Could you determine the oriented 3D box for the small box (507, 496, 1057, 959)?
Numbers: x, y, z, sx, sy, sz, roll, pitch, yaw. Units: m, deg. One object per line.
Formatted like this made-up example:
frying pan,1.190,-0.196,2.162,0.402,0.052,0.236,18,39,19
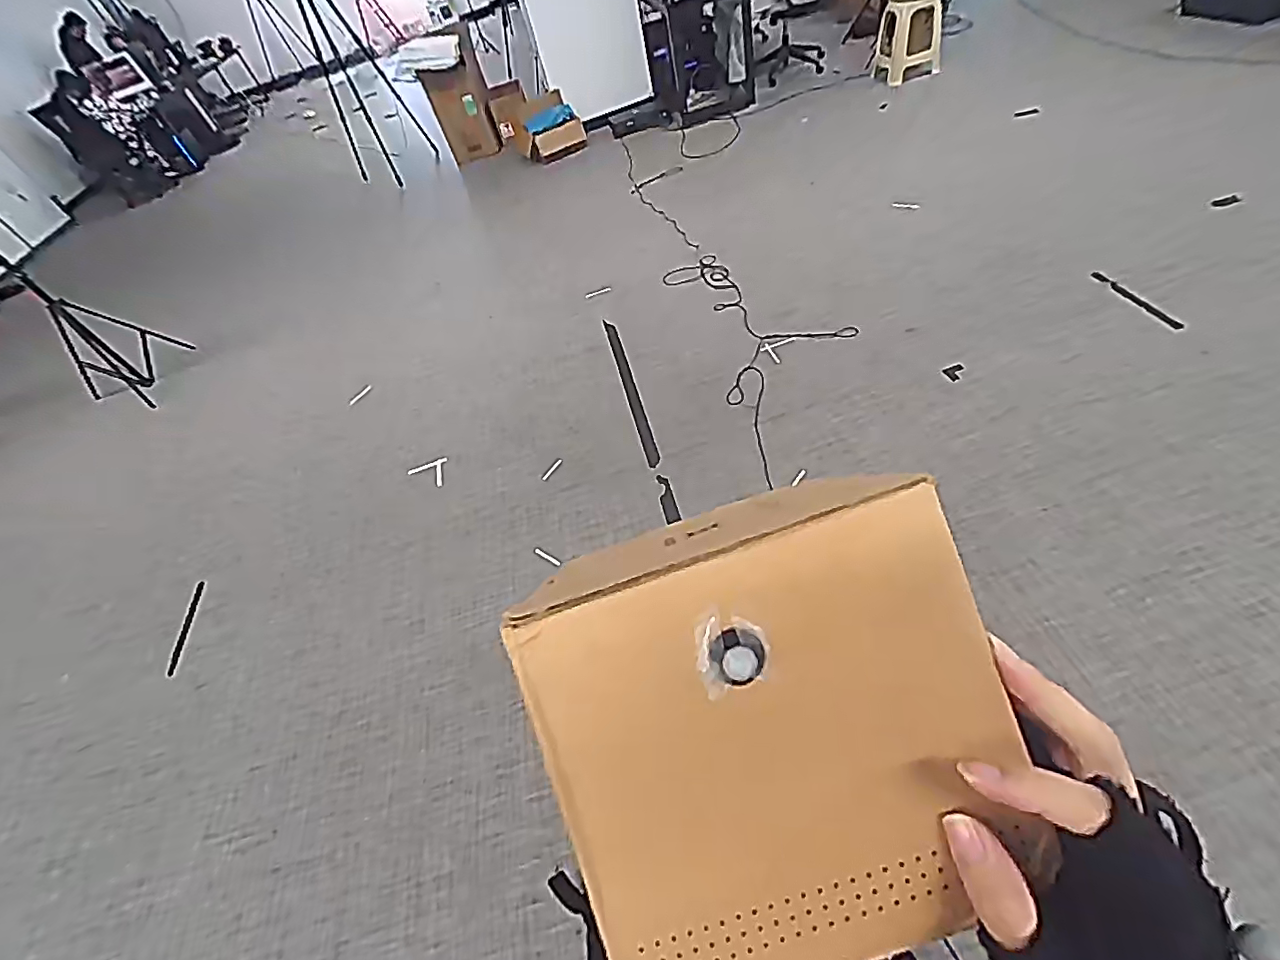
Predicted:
small box,0.059,0.115,0.283,0.179,0.168,0.176,-19,89,2
